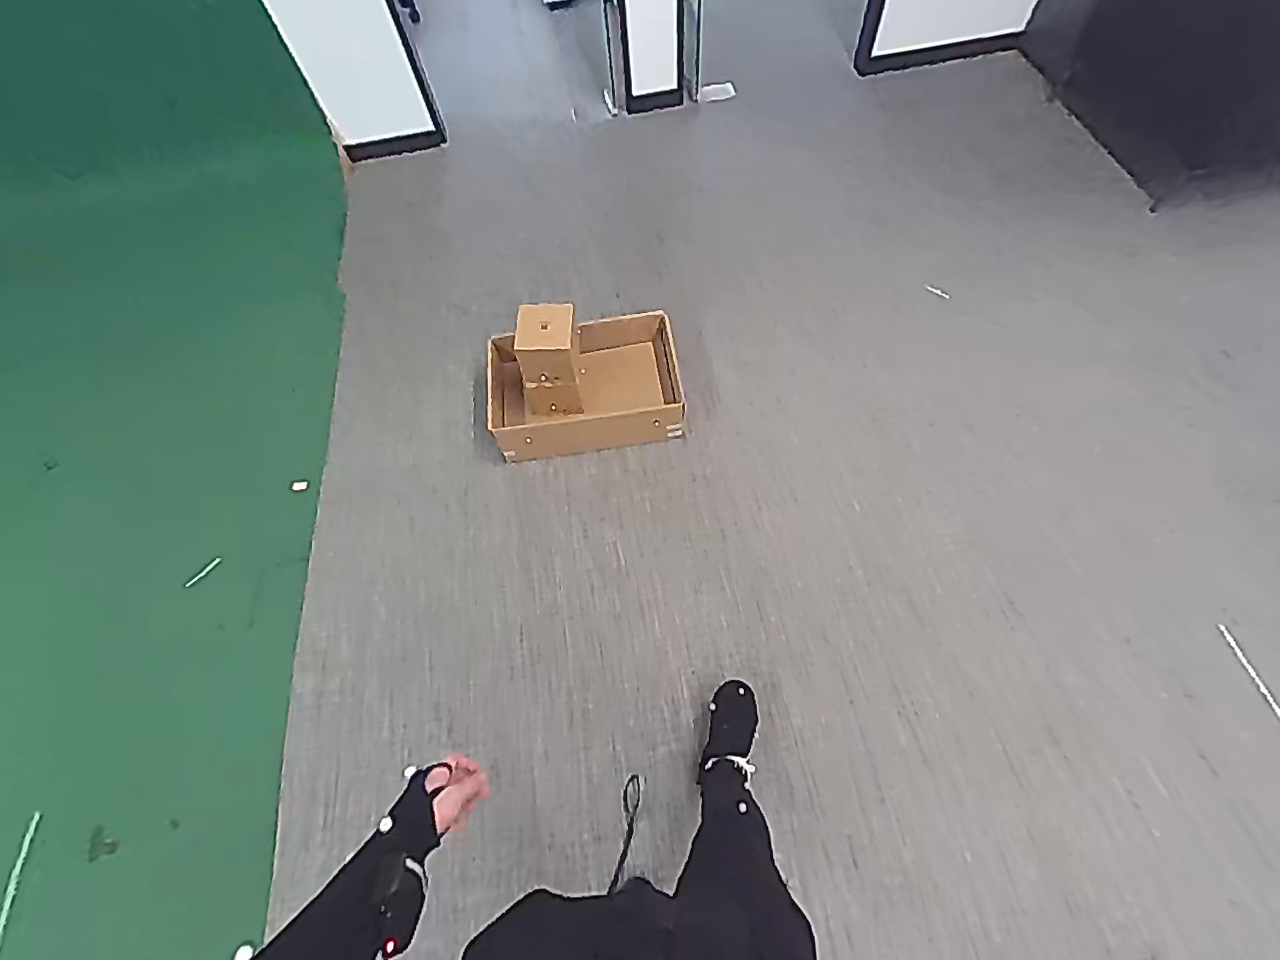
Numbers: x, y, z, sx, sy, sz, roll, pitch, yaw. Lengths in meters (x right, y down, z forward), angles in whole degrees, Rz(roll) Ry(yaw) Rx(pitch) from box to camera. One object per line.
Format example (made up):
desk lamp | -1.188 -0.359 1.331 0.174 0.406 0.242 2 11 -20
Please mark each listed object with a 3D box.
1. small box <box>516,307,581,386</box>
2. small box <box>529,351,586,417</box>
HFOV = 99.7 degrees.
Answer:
small box | -0.276 -0.411 1.665 0.168 0.176 0.179 -1 63 1
small box | -0.273 -0.330 1.807 0.168 0.176 0.179 -4 63 -1
